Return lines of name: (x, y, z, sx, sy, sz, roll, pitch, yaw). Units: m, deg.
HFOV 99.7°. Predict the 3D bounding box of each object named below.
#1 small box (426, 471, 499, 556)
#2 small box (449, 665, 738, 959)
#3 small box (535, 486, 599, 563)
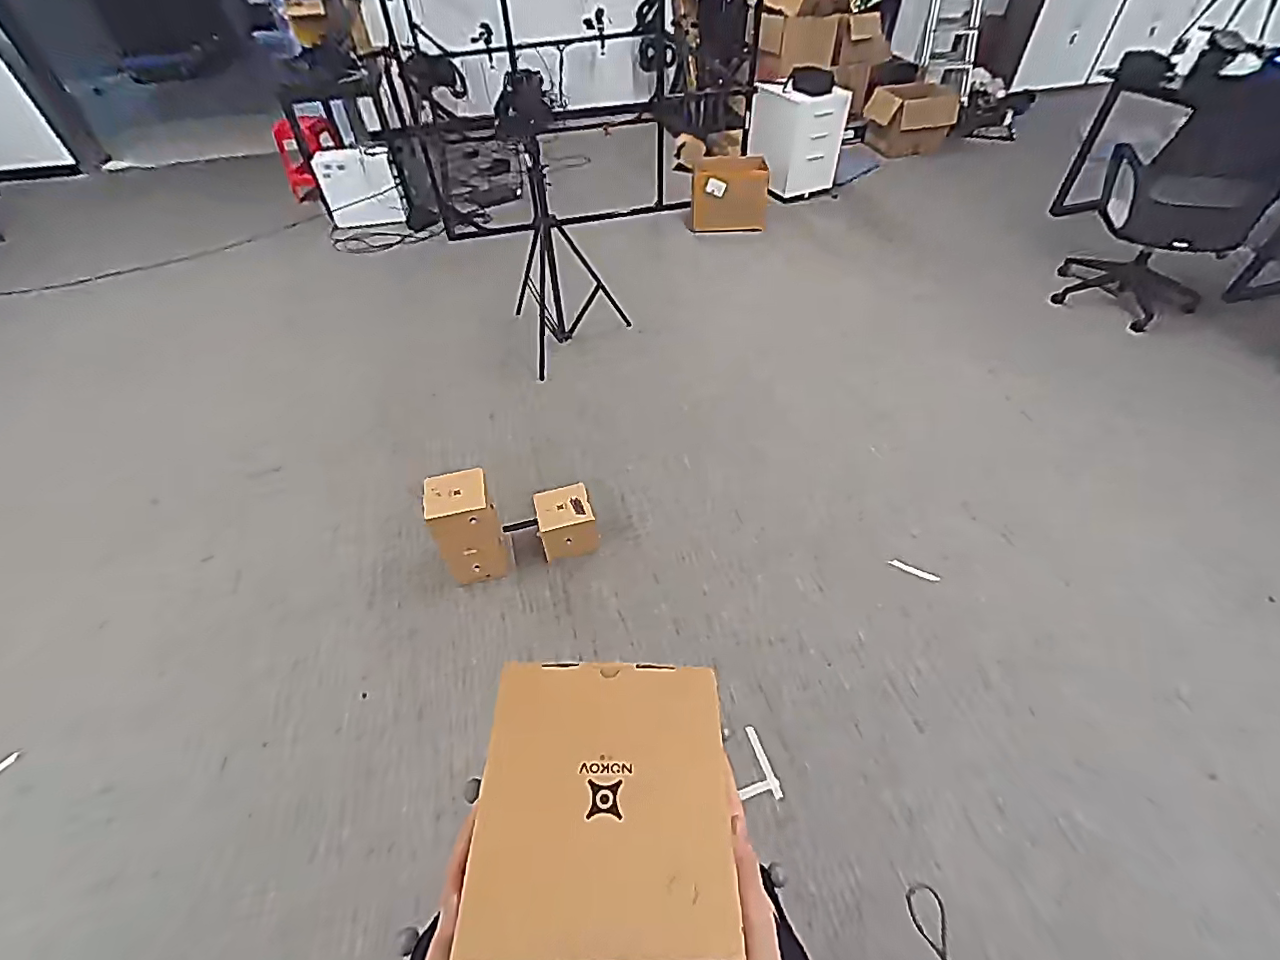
small box: (-0.527, 0.102, 1.620, 0.179, 0.176, 0.168, -12, 47, -9)
small box: (-0.030, 0.262, 0.413, 0.168, 0.176, 0.179, 2, 45, -4)
small box: (-0.238, 0.150, 1.789, 0.179, 0.176, 0.168, -14, 48, -9)
